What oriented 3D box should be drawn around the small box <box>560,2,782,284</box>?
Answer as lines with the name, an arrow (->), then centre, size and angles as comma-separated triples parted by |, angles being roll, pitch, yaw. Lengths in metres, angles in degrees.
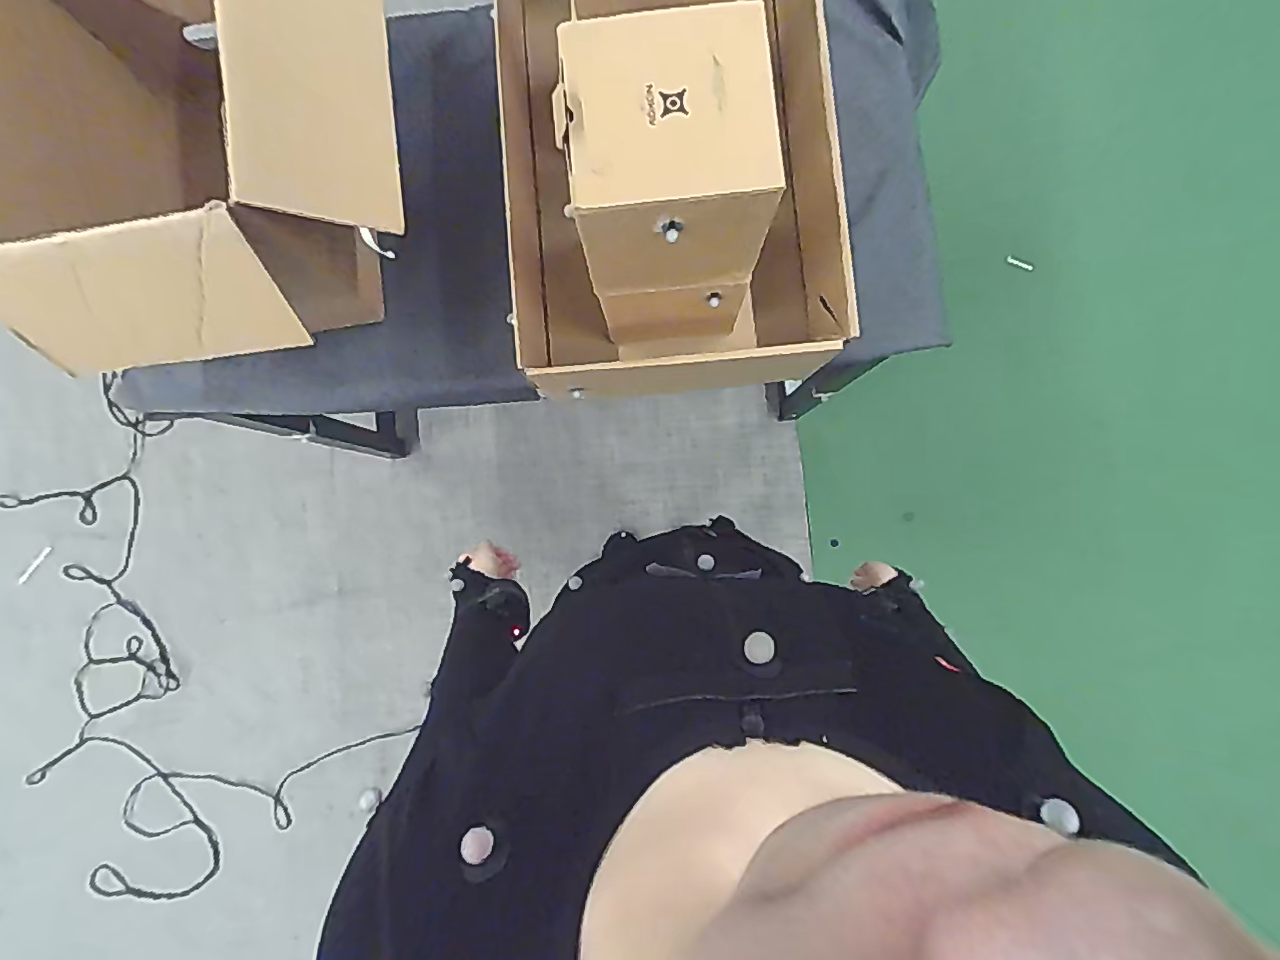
small box -> 0.027, -0.307, 0.530 | 0.179, 0.176, 0.168 | -6, 87, 0
